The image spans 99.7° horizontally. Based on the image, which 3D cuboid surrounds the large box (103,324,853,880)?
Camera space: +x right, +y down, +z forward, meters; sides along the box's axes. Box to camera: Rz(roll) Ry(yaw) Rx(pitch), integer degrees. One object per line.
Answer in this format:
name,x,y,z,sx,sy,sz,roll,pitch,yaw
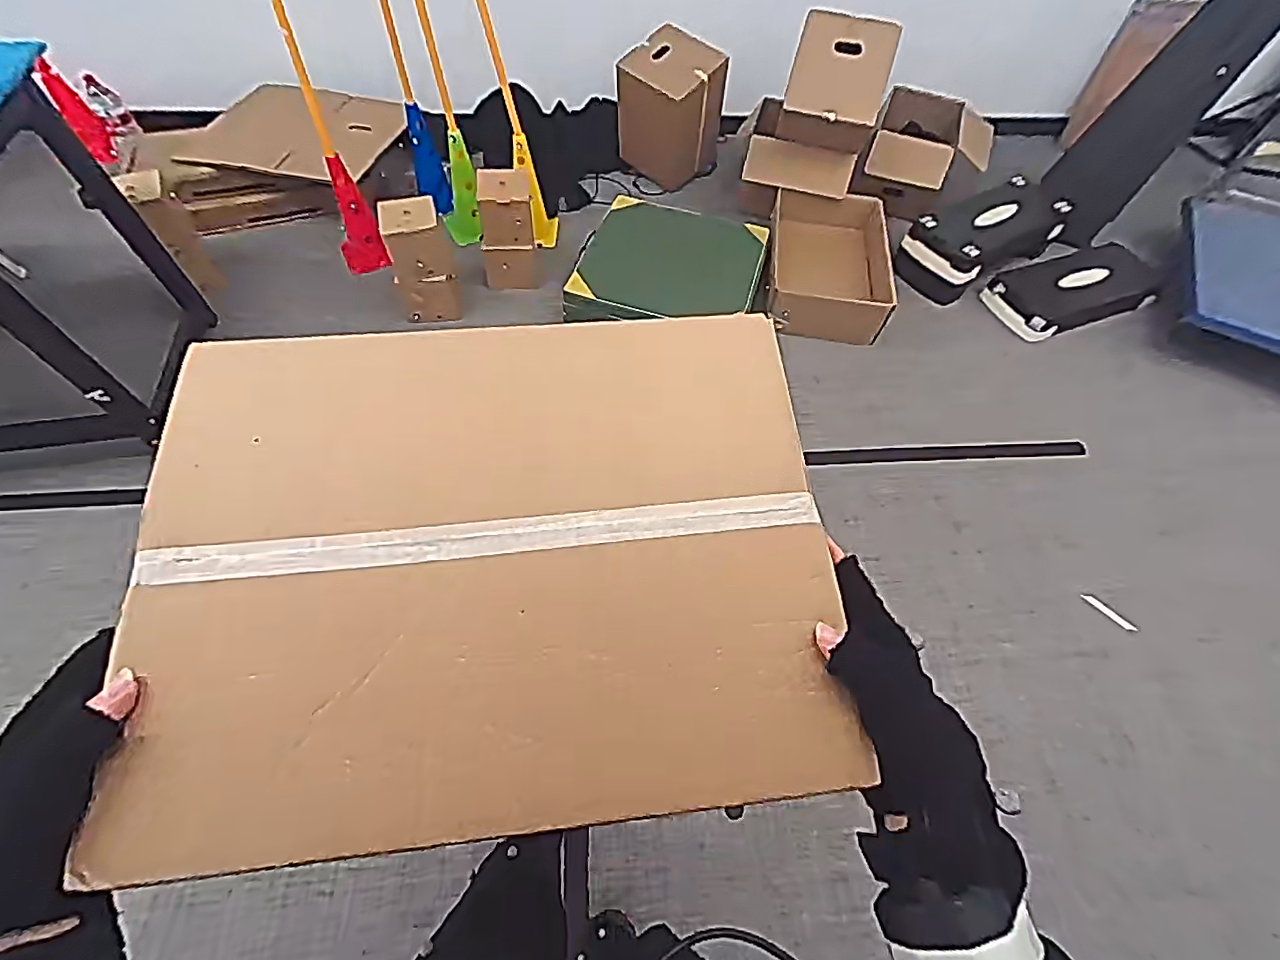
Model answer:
large box,-0.097,0.094,0.478,0.408,0.320,0.320,-5,68,-5
